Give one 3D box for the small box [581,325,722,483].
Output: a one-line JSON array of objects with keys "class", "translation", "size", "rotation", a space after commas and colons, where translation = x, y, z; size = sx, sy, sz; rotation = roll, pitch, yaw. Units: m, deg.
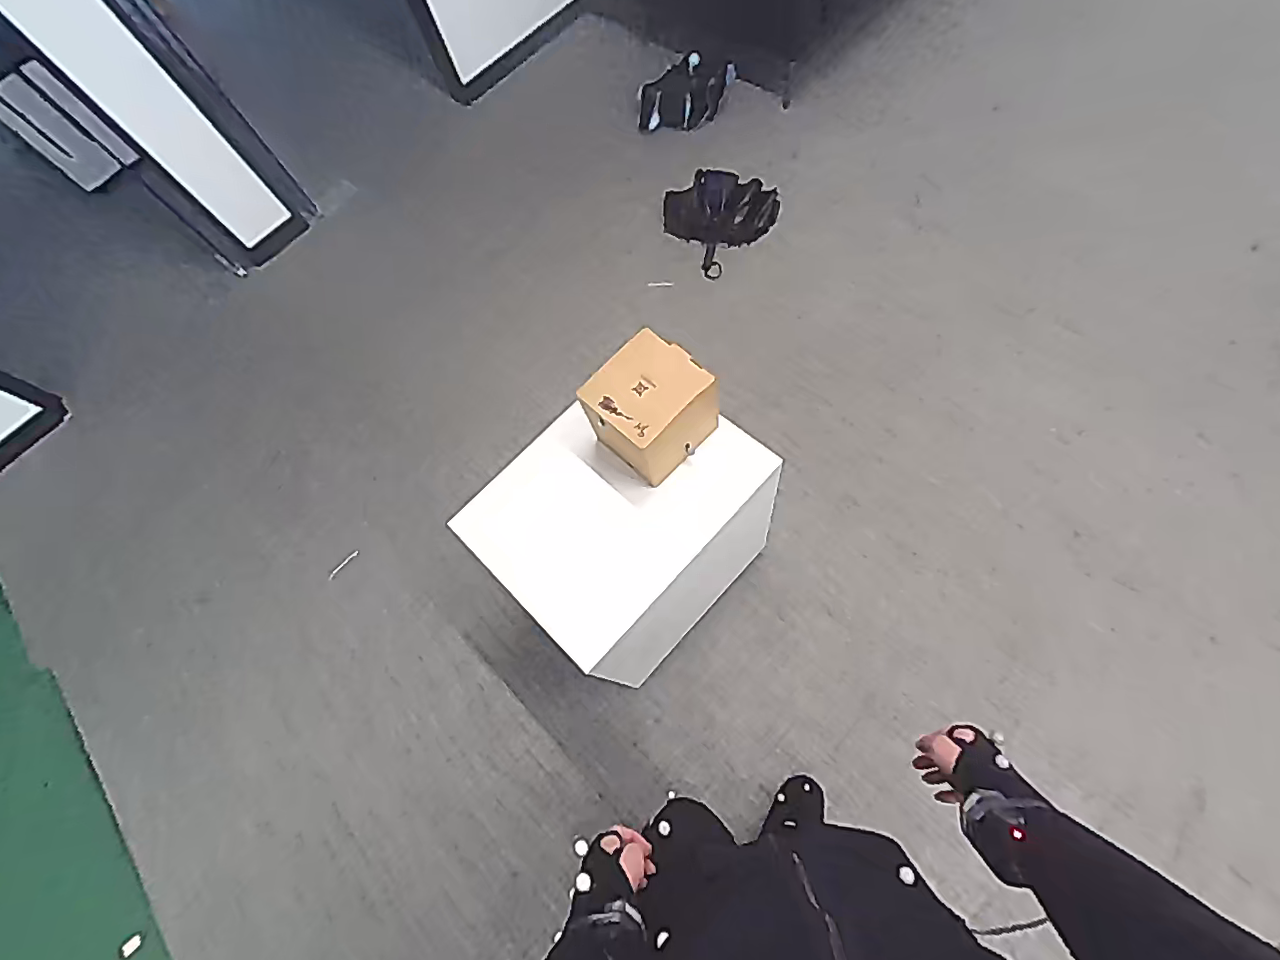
[{"class": "small box", "translation": [0.024, -0.128, 0.955], "size": [0.179, 0.176, 0.168], "rotation": [-43, 68, -11]}]
